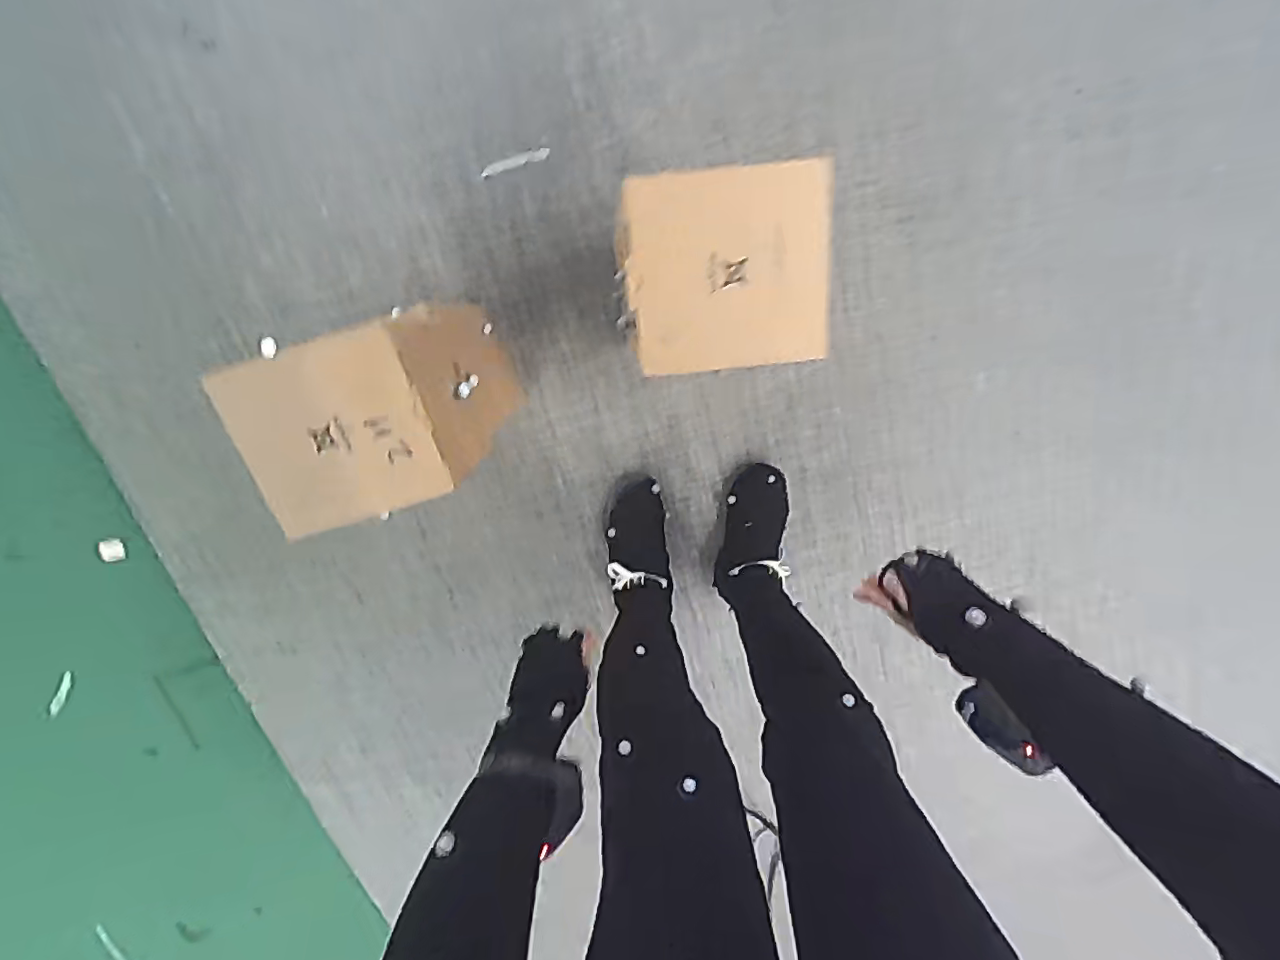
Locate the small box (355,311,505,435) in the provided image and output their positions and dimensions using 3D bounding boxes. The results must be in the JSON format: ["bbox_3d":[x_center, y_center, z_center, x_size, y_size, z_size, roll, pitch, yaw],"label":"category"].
[{"bbox_3d":[-0.299,-0.119,0.734,0.168,0.176,0.179,-18,106,2],"label":"small box"}]

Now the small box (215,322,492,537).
[{"bbox_3d":[-0.281,-0.063,0.579,0.179,0.176,0.168,-17,107,2],"label":"small box"}]

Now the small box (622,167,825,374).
[{"bbox_3d":[0.075,-0.206,0.559,0.179,0.176,0.168,-6,108,-1],"label":"small box"}]
